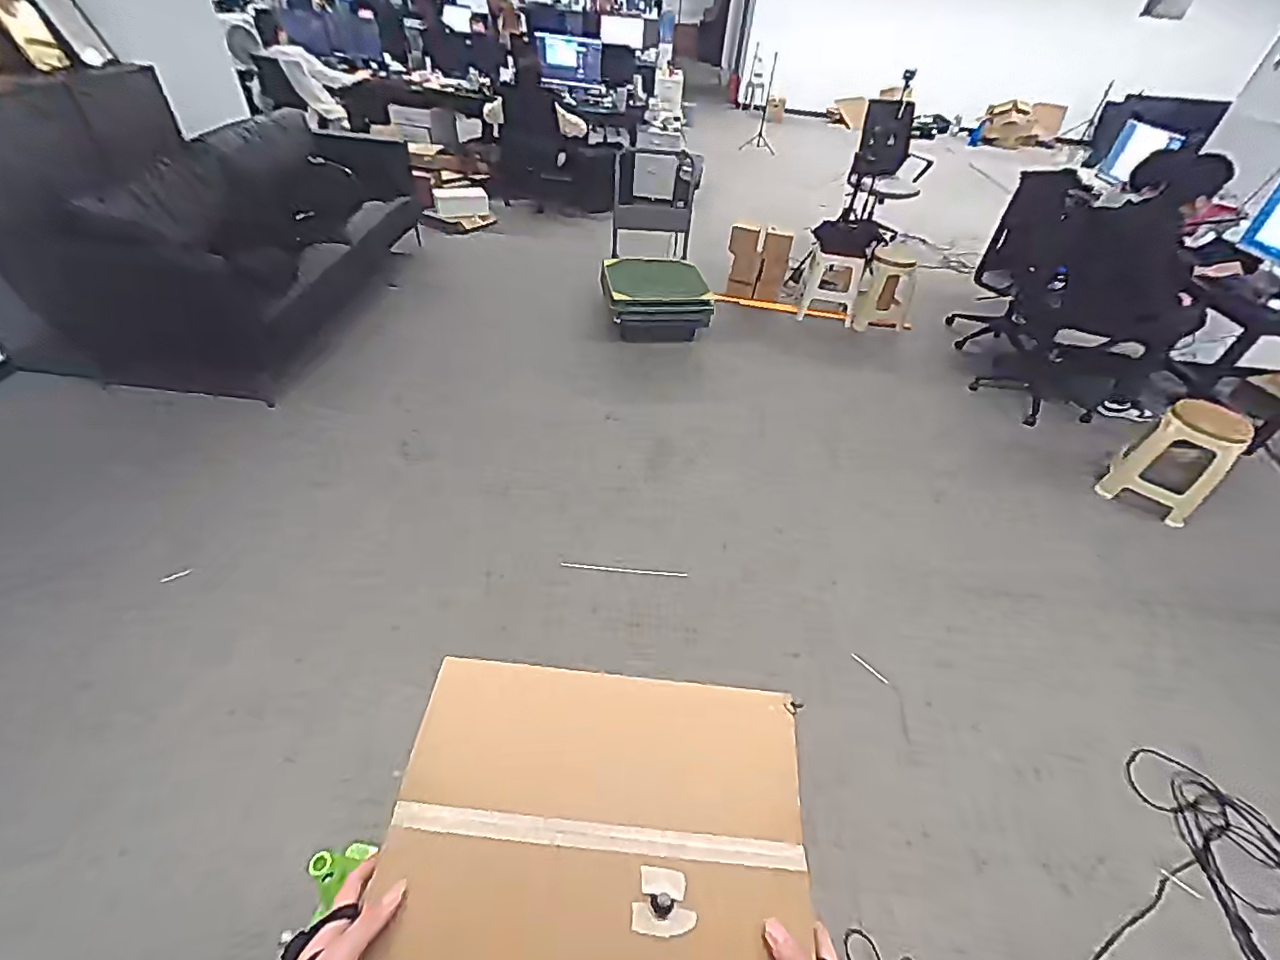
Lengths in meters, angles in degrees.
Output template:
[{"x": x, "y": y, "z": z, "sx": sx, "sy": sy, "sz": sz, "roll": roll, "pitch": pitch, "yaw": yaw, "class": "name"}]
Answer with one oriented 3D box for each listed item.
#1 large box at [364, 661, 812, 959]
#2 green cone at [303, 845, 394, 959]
[{"x": -0.045, "y": 0.440, "z": 0.654, "sx": 0.408, "sy": 0.320, "sz": 0.320, "roll": 6, "pitch": 52, "yaw": 1, "class": "large box"}, {"x": -0.633, "y": 0.870, "z": 1.152, "sx": 0.200, "sy": 0.368, "sz": 0.202, "roll": 9, "pitch": 45, "yaw": 4, "class": "green cone"}]
